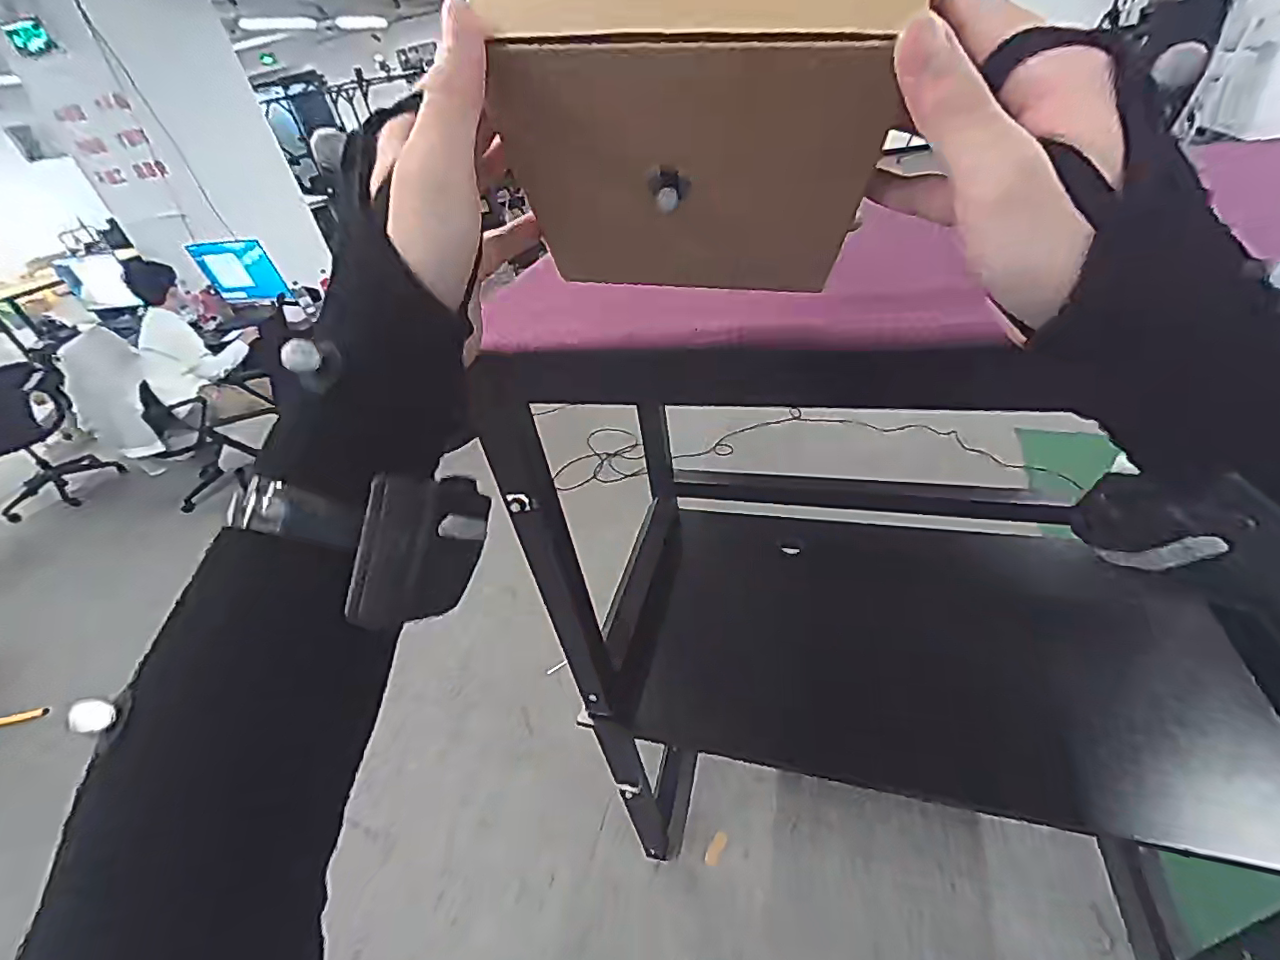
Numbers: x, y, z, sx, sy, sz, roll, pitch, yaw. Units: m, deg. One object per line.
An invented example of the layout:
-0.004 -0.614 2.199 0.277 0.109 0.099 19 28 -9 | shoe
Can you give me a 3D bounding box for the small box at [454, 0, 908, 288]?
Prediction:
0.029 -0.224 0.298 0.179 0.176 0.168 5 78 8 | small box
